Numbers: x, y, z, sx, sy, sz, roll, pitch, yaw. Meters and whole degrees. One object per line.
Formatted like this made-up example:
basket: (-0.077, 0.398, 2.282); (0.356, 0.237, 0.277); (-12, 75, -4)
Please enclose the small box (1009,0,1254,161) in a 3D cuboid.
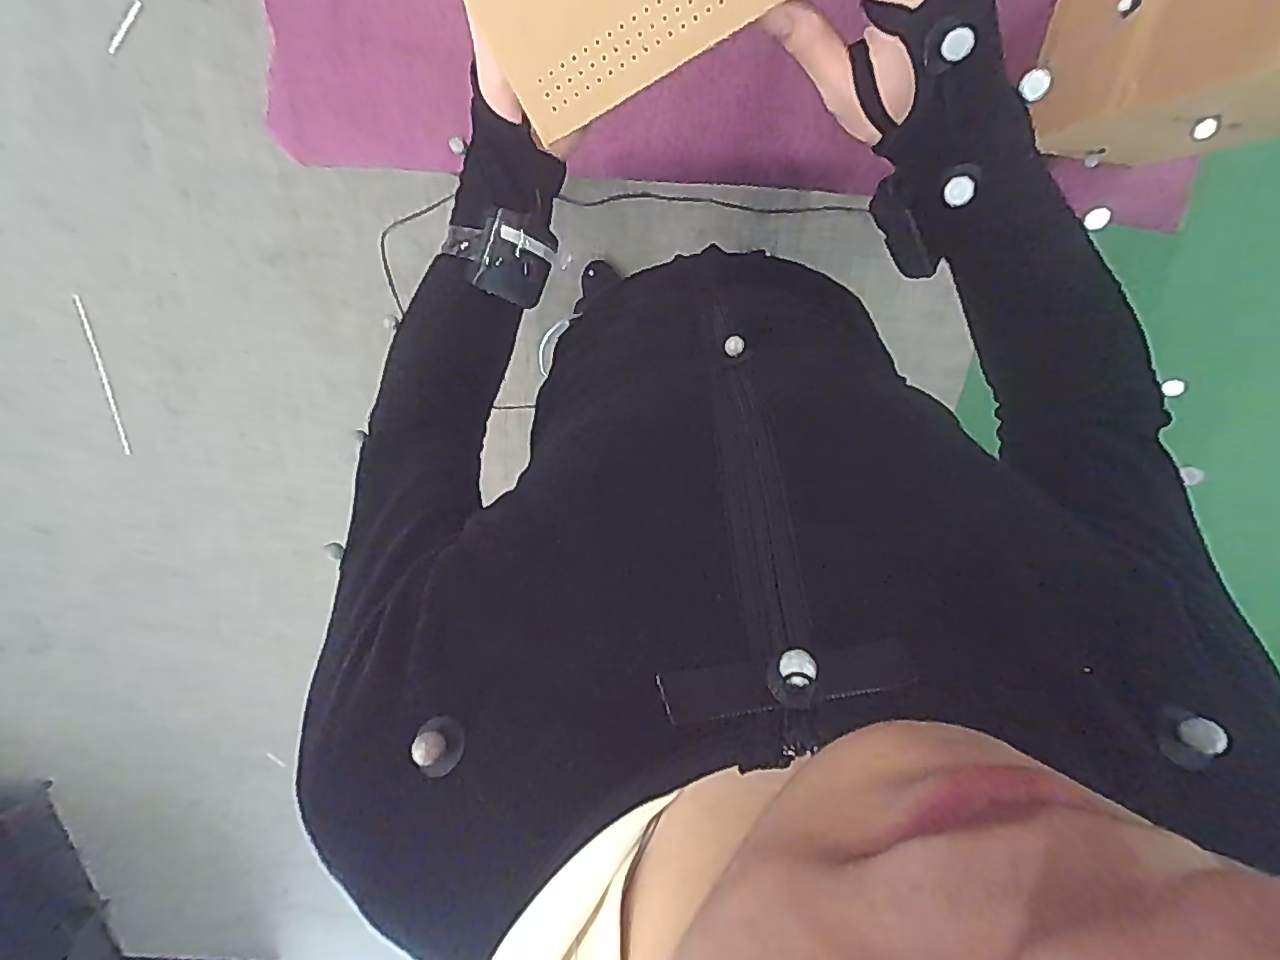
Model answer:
small box: (0.576, -0.476, 0.612); (0.179, 0.176, 0.168); (7, 111, -2)
